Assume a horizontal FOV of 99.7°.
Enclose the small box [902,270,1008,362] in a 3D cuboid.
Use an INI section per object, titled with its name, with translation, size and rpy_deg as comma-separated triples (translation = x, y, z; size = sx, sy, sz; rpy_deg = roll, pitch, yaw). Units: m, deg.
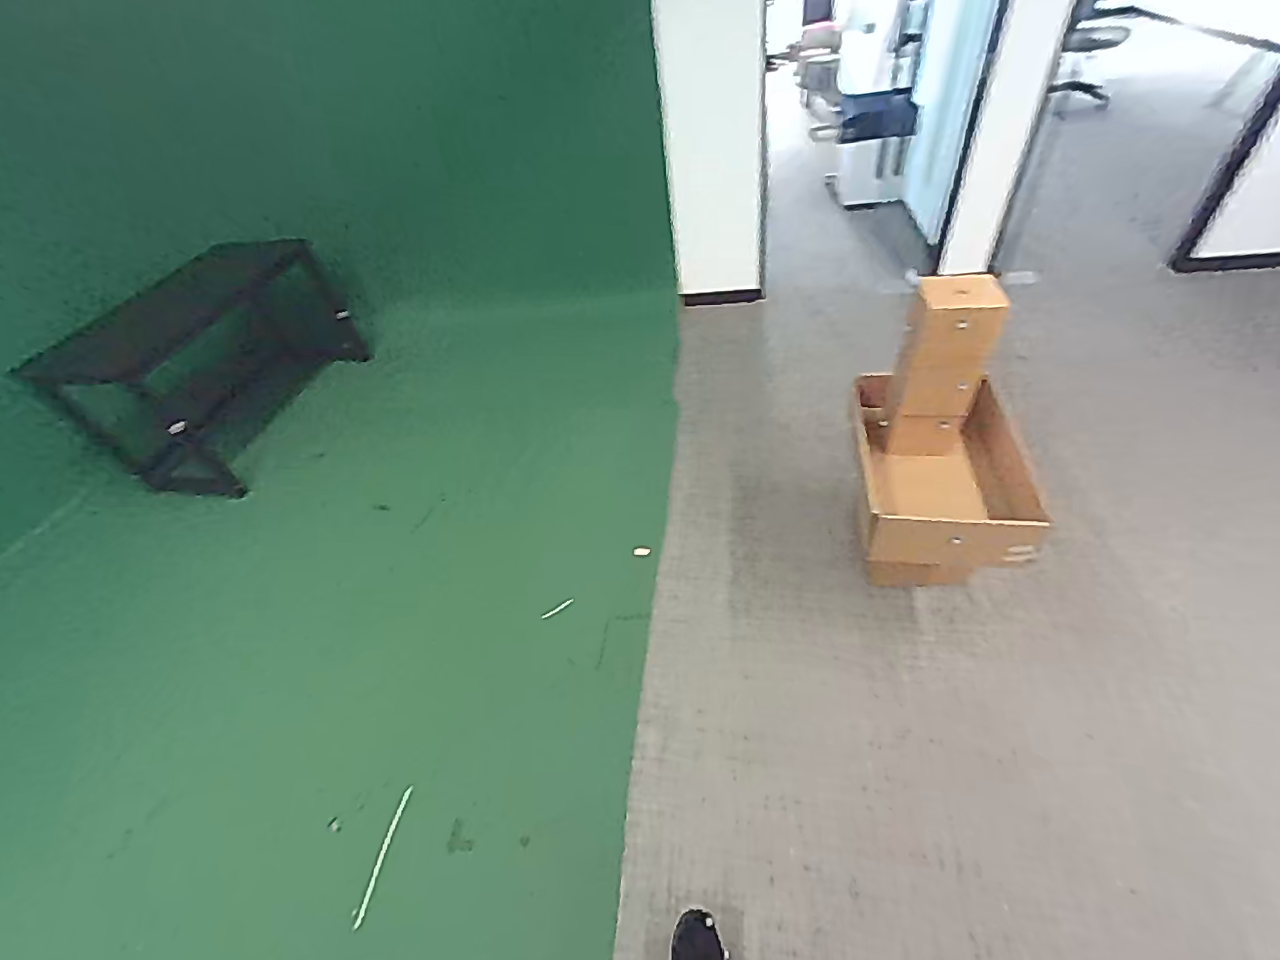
[small box]
translation = 0.797, -0.418, 1.388
size = 0.179, 0.176, 0.168
rpy_deg = 2, 47, 11
